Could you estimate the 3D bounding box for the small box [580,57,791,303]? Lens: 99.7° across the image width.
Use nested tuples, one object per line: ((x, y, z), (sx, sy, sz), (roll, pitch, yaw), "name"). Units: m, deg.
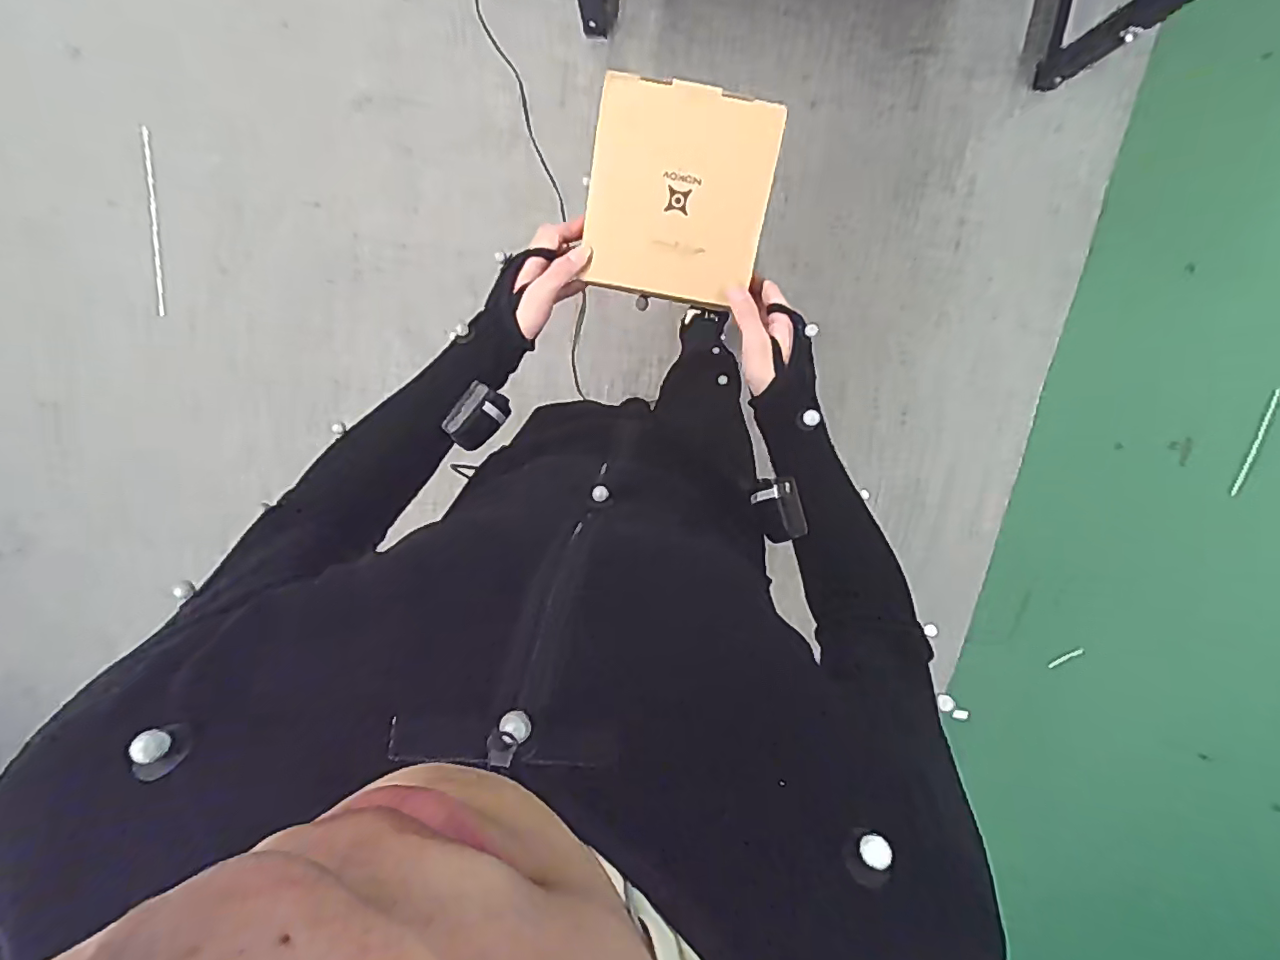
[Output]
((0.038, -0.293, 0.570), (0.168, 0.176, 0.179), (10, 108, -3), "small box")
